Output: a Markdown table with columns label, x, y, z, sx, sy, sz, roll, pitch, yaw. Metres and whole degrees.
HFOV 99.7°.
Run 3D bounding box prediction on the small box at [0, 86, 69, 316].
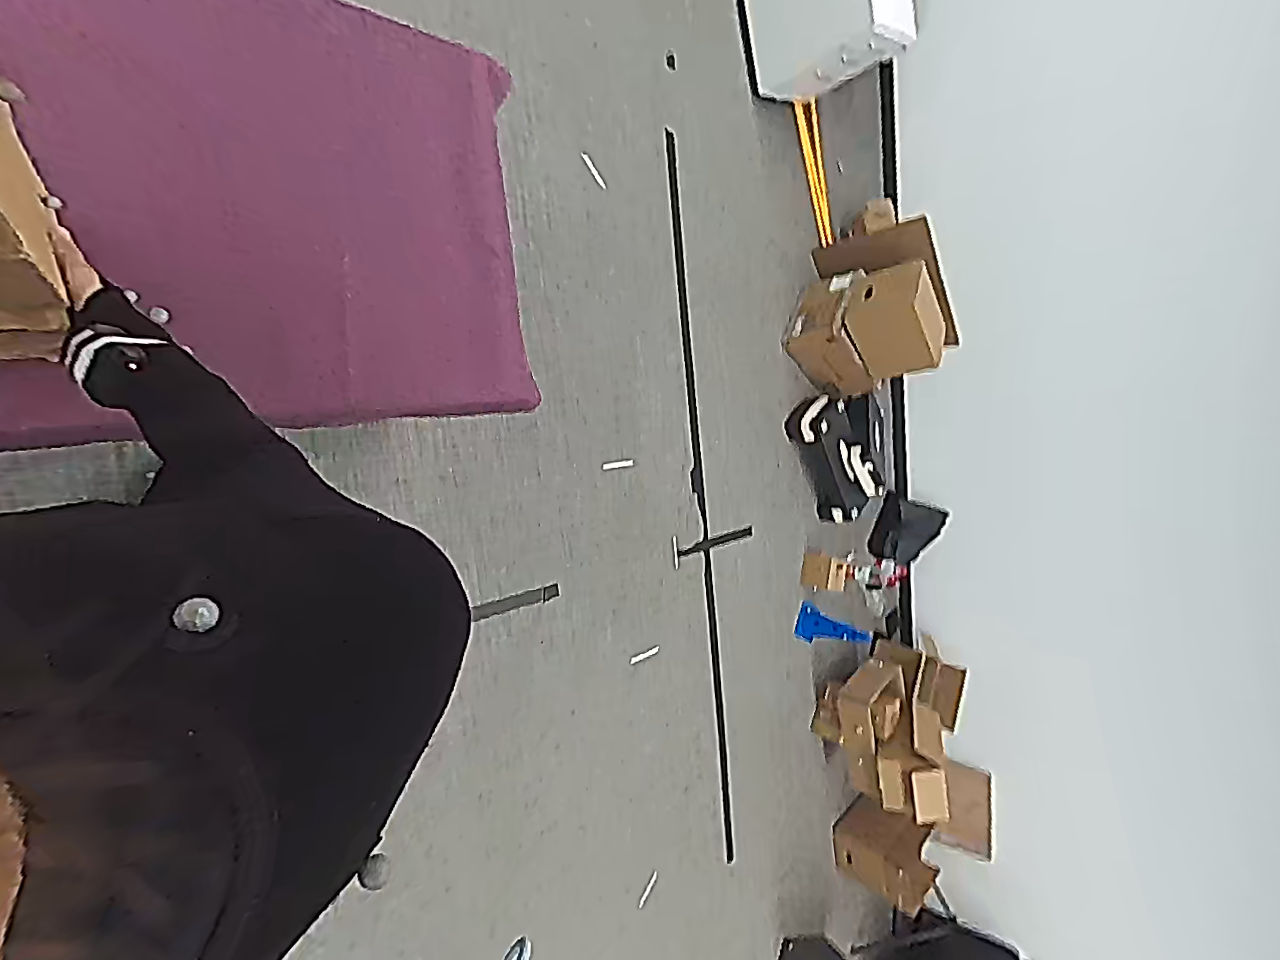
| label | x | y | z | sx | sy | sz | roll | pitch | yaw |
| --- | --- | --- | --- | --- | --- | --- | --- | --- | --- |
| small box | -0.543 | -0.219 | 0.372 | 0.168 | 0.176 | 0.179 | -16 | 102 | -38 |

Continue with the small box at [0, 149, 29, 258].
| label | x | y | z | sx | sy | sz | roll | pitch | yaw |
| --- | --- | --- | --- | --- | --- | --- | --- | --- | --- |
| small box | -0.439 | -0.210 | 0.247 | 0.168 | 0.176 | 0.179 | -19 | 103 | -38 |
